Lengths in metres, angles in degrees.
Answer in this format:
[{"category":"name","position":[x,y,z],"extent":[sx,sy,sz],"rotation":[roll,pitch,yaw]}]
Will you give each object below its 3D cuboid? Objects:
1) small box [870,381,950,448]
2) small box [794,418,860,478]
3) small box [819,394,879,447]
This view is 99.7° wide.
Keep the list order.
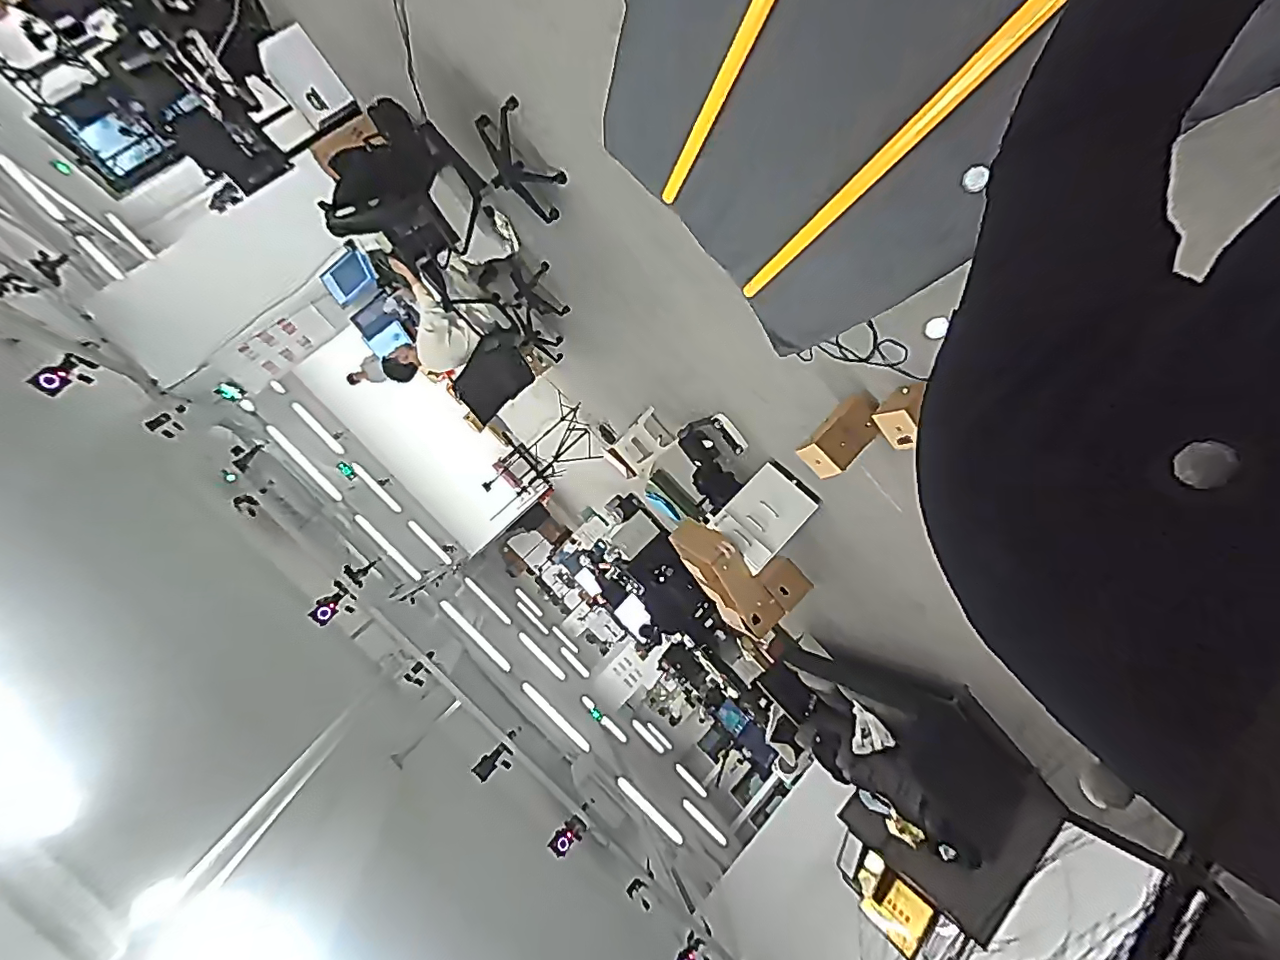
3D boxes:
[{"category":"small box","position":[1.005,-0.241,2.007],"extent":[0.179,0.176,0.168],"rotation":[49,166,-11]},{"category":"small box","position":[0.787,-0.135,2.261],"extent":[0.168,0.176,0.179],"rotation":[46,167,-1]},{"category":"small box","position":[0.902,-0.243,2.307],"extent":[0.168,0.176,0.179],"rotation":[46,167,-3]}]
